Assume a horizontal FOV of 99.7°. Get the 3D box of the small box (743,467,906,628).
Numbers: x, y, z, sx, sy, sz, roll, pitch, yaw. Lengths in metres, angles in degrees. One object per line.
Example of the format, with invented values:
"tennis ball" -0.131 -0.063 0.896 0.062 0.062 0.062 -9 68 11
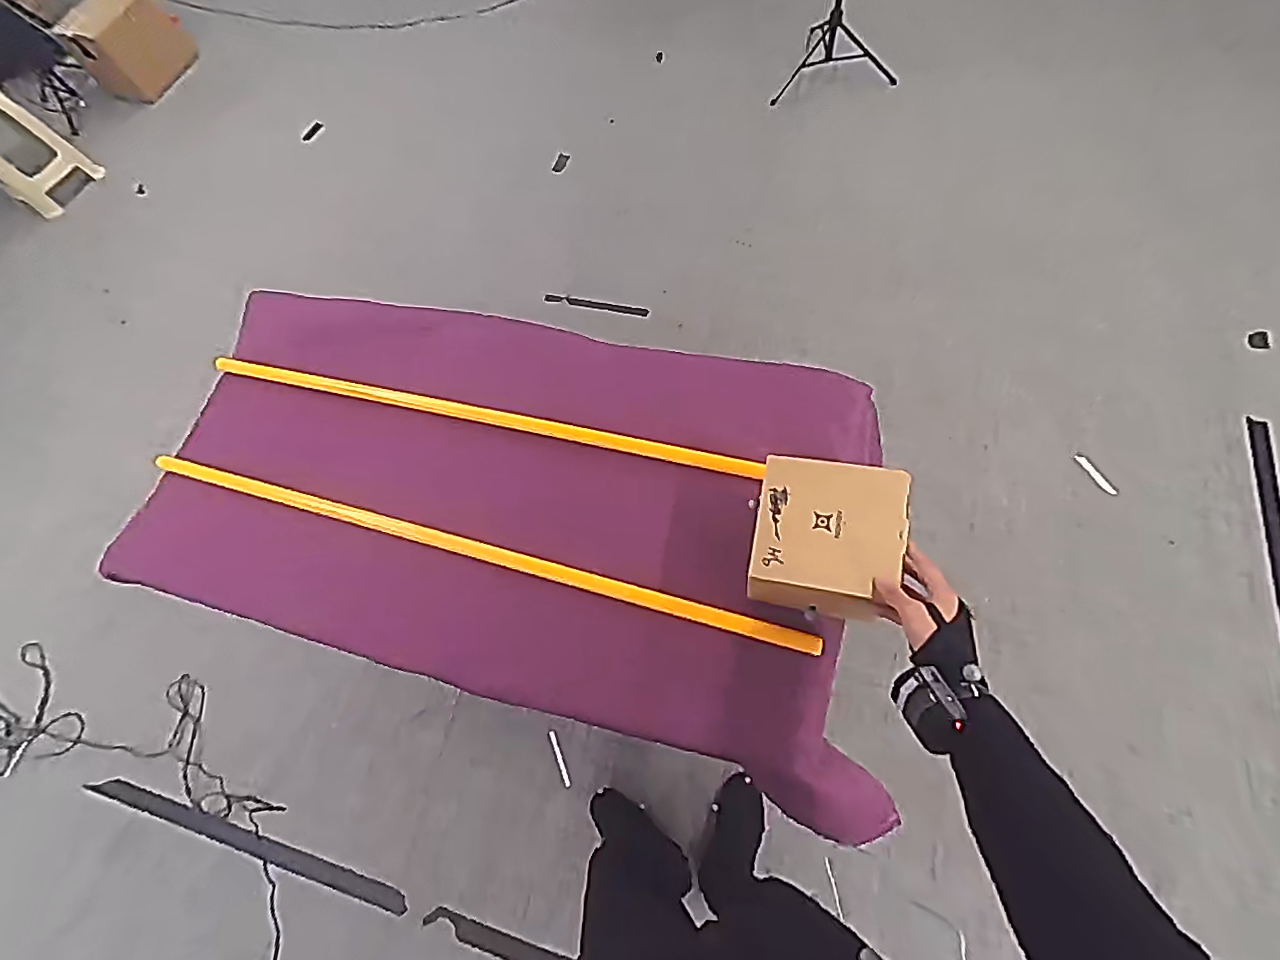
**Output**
"small box" 0.241 0.099 0.739 0.179 0.176 0.168 9 70 14
